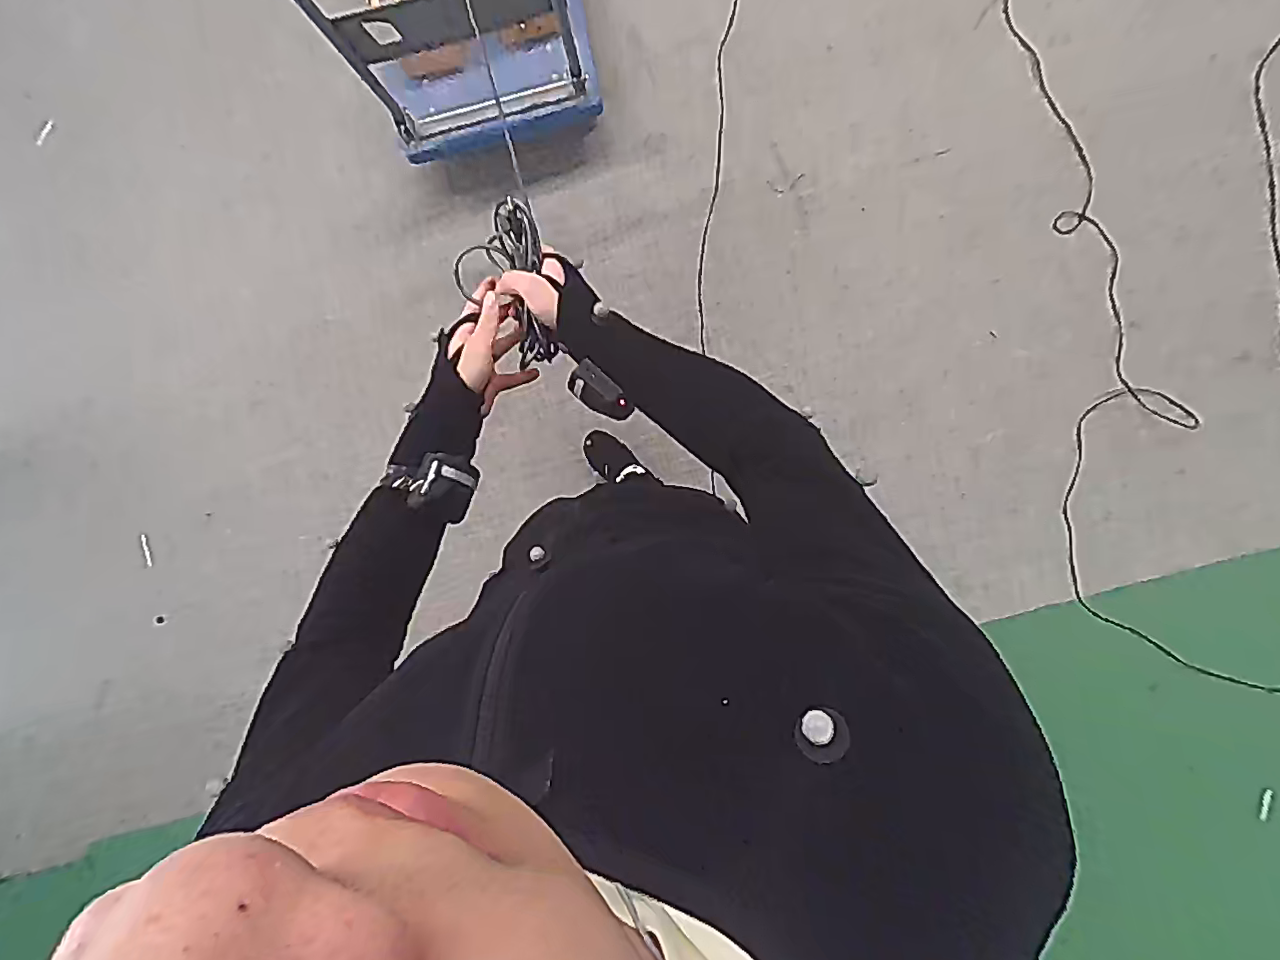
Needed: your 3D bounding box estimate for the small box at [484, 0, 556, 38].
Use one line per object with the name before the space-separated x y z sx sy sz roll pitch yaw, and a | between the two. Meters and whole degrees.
small box | -0.318 -1.274 1.356 0.168 0.176 0.179 -10 92 5
